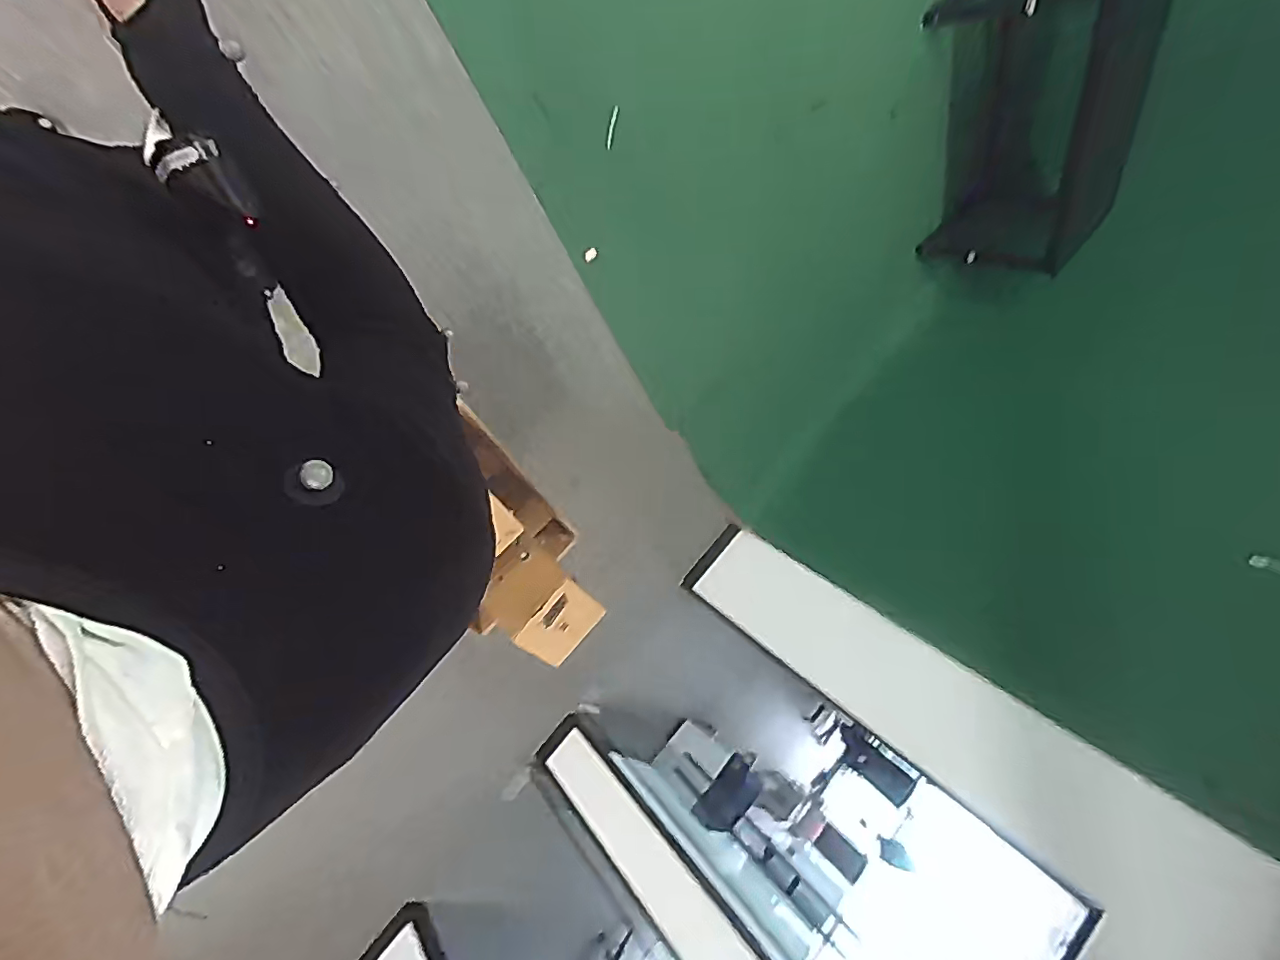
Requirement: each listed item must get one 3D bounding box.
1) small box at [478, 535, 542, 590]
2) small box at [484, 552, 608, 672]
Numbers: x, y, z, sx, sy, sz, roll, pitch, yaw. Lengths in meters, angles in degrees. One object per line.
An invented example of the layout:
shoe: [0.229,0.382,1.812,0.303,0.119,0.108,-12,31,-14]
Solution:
small box: [-0.400,0.165,1.435,0.168,0.176,0.179,-45,135,-11]
small box: [-0.210,0.283,1.193,0.168,0.176,0.179,-47,136,-10]
